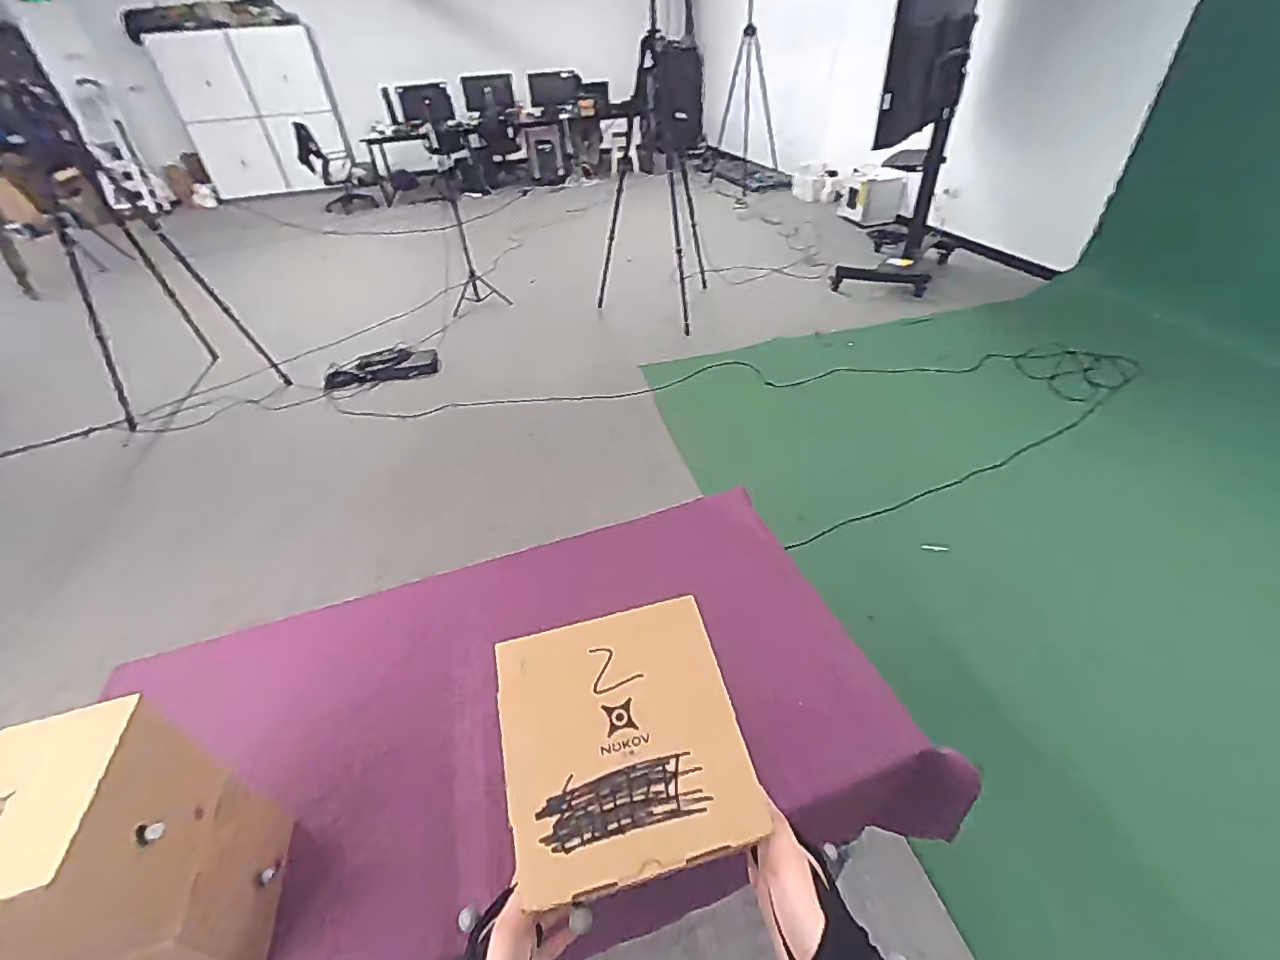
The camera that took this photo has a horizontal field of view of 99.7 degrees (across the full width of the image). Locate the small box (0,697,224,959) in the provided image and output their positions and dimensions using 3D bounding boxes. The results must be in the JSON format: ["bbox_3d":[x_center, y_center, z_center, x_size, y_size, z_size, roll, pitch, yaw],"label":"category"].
[{"bbox_3d":[-0.545,0.341,0.509,0.179,0.176,0.168,-14,40,-9],"label":"small box"}]

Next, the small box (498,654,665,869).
[{"bbox_3d":[-0.072,0.360,0.695,0.179,0.176,0.168,-14,40,-9],"label":"small box"}]

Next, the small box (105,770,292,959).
[{"bbox_3d":[-0.539,0.468,0.611,0.179,0.176,0.168,-13,41,-10],"label":"small box"}]
